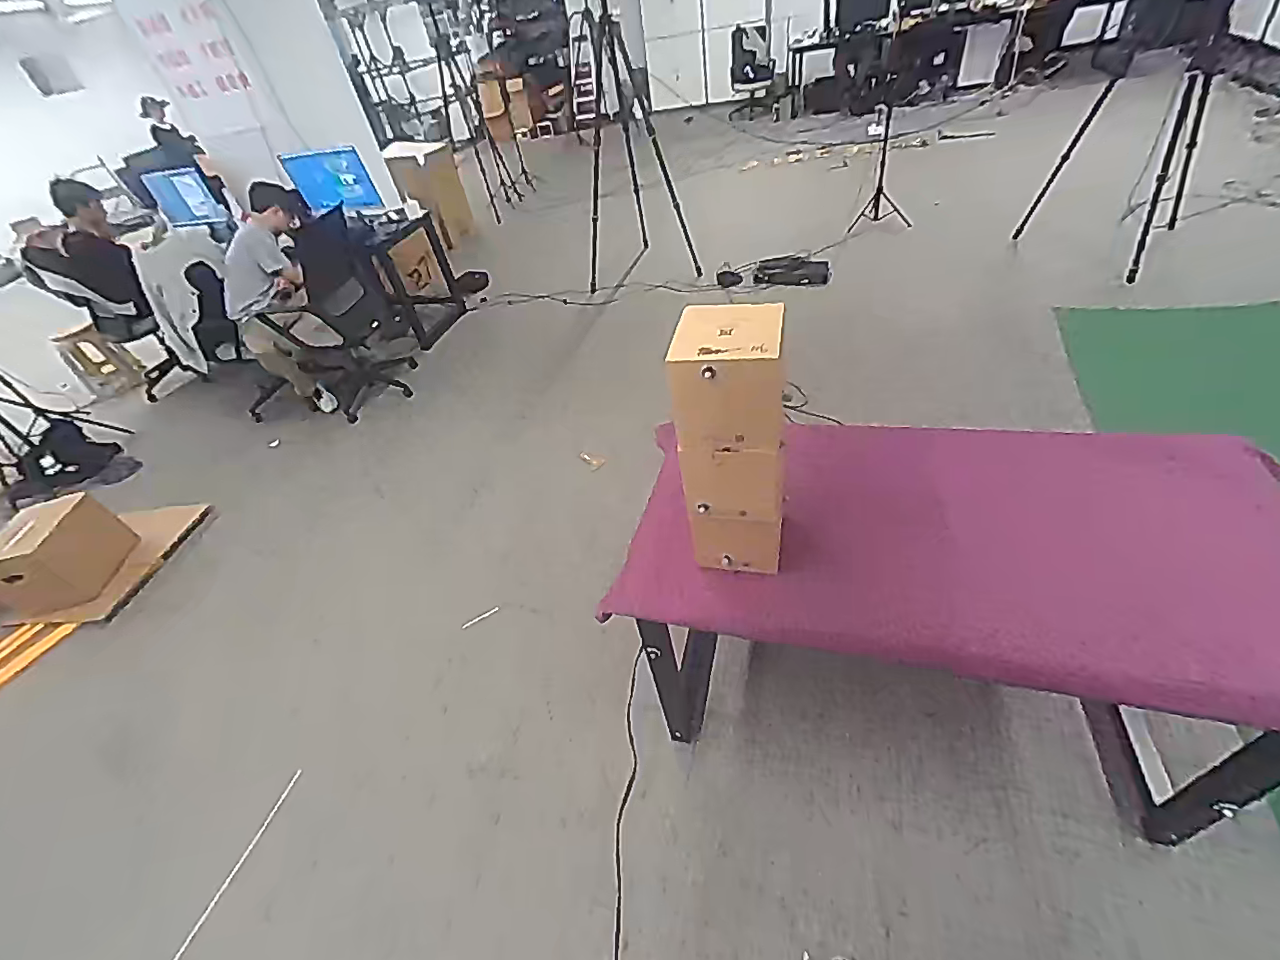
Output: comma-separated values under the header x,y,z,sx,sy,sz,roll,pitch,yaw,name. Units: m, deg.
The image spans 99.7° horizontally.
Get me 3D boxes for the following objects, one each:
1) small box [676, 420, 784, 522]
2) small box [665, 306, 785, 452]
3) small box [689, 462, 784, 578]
x,y,z,sx,sy,sz,roll,pitch,yaw,name
0.173,-0.040,0.986,0.168,0.176,0.179,3,43,18,small box
0.147,-0.165,0.883,0.168,0.176,0.179,2,43,18,small box
0.203,0.073,1.101,0.168,0.176,0.179,3,45,18,small box
